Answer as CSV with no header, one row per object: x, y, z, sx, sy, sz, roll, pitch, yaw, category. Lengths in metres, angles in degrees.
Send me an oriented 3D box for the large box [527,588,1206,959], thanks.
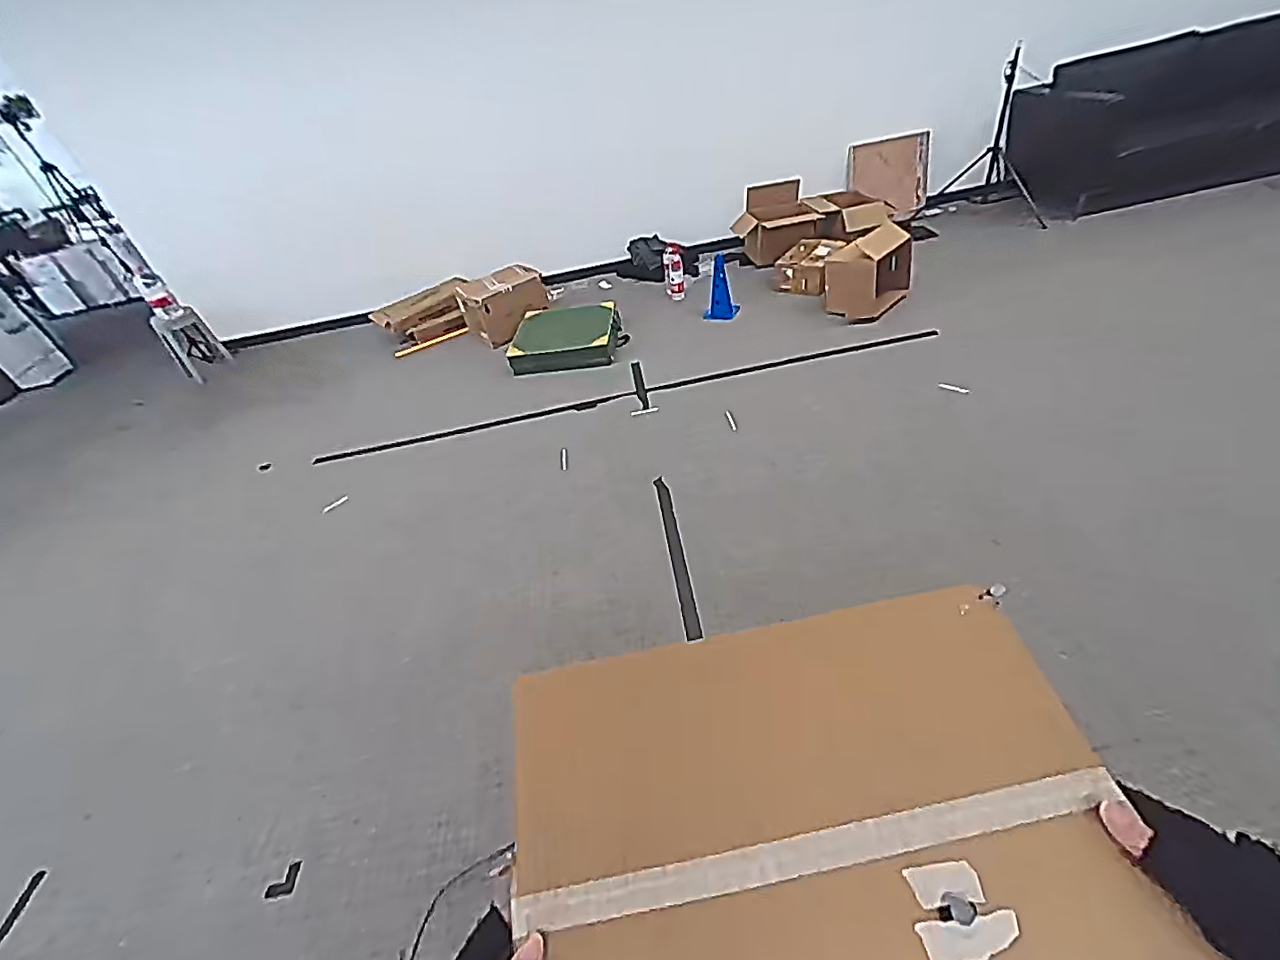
0.136,0.344,0.489,0.408,0.320,0.320,-11,51,-2,large box
